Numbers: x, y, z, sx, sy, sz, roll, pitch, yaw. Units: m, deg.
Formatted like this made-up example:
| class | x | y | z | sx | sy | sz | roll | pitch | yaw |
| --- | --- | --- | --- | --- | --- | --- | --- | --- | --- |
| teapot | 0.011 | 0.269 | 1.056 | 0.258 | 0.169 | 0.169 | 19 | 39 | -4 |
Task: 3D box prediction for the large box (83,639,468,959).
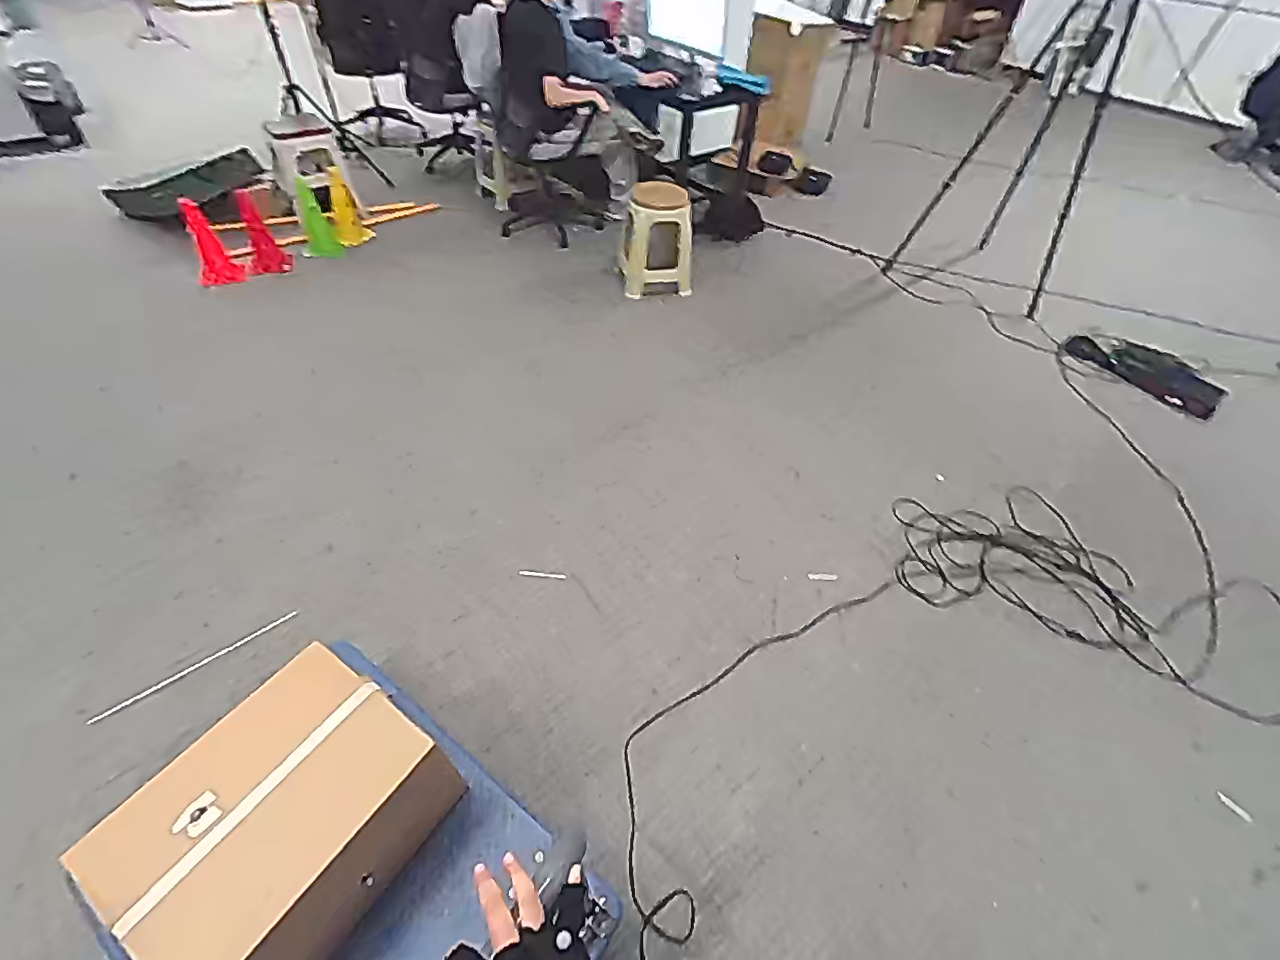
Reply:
| class | x | y | z | sx | sy | sz | roll | pitch | yaw |
| --- | --- | --- | --- | --- | --- | --- | --- | --- | --- |
| large box | -0.576 | 0.576 | 0.951 | 0.320 | 0.320 | 0.408 | 28 | 53 | 20 |
